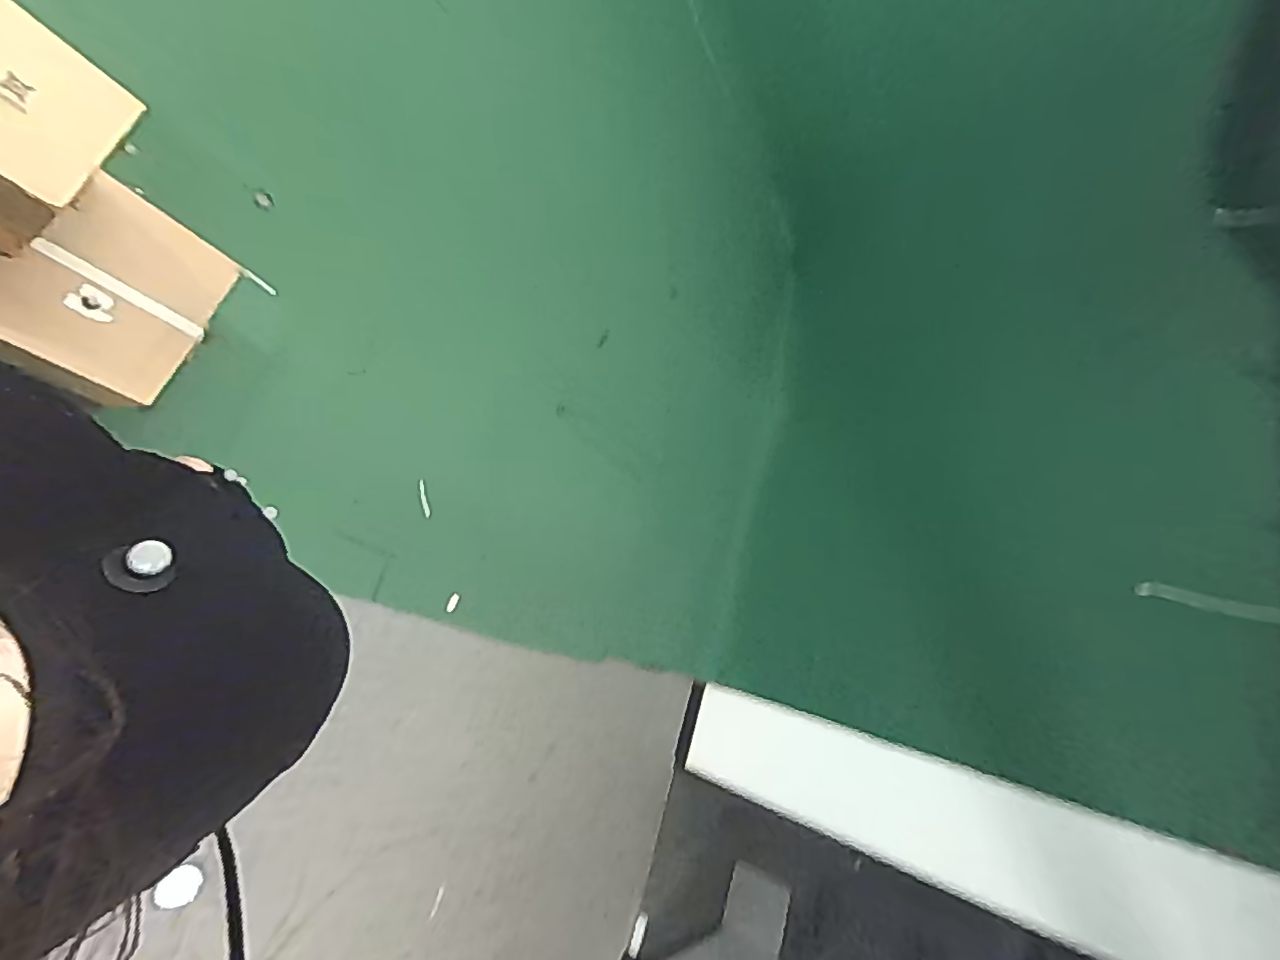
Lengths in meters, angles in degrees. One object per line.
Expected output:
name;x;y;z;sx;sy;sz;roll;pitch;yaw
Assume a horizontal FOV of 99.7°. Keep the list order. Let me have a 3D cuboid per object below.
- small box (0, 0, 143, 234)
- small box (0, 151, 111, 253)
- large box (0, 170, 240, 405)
small box;-0.735;-0.417;0.617;0.168;0.176;0.179;40;63;-49
small box;-0.869;-0.433;0.713;0.168;0.176;0.179;42;61;-49
large box;-1.026;-0.360;0.919;0.408;0.320;0.320;42;62;-49
